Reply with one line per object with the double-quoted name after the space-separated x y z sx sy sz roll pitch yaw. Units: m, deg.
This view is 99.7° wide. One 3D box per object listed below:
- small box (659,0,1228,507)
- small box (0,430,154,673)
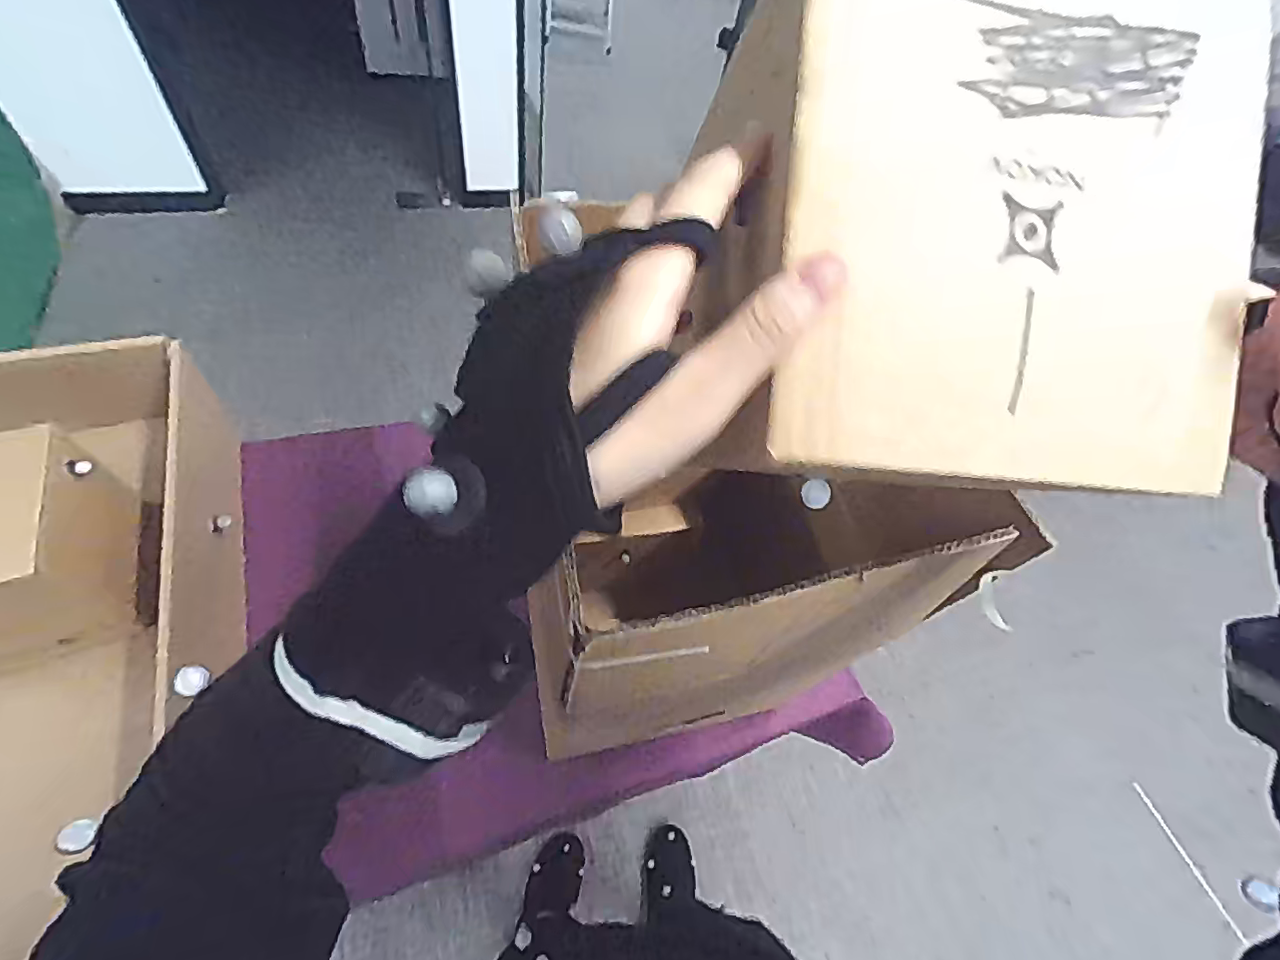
0.107 -0.083 0.257 0.168 0.176 0.179 4 90 -8 "small box"
-0.639 0.083 0.548 0.168 0.176 0.179 -17 61 -19 "small box"
